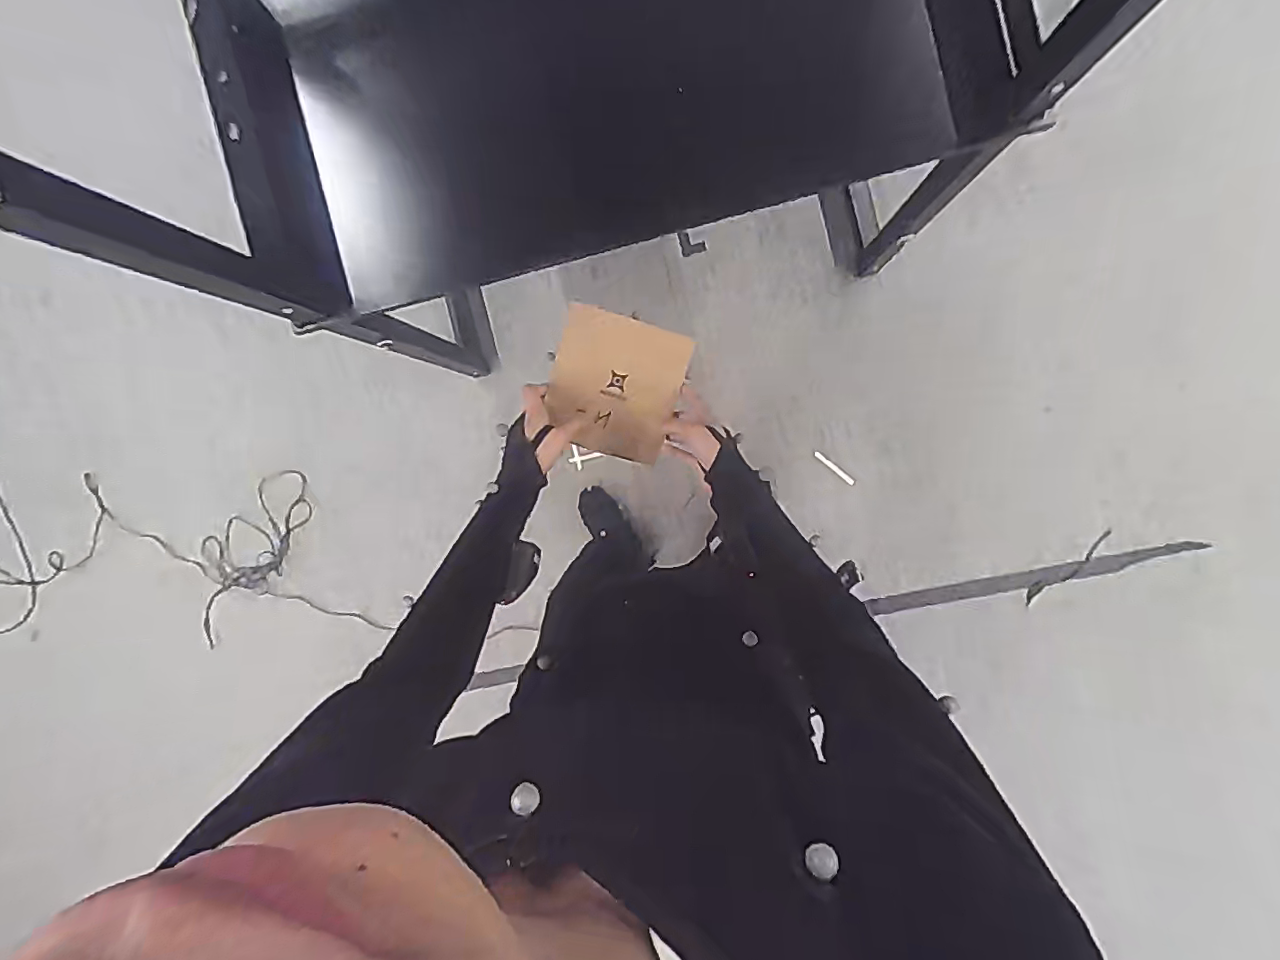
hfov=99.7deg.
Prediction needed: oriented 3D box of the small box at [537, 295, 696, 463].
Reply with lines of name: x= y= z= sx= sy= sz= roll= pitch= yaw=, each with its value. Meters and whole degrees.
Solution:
small box: x=-0.037 y=-0.143 z=0.755 sx=0.168 sy=0.176 sz=0.179 roll=15 pitch=104 yaw=-7
